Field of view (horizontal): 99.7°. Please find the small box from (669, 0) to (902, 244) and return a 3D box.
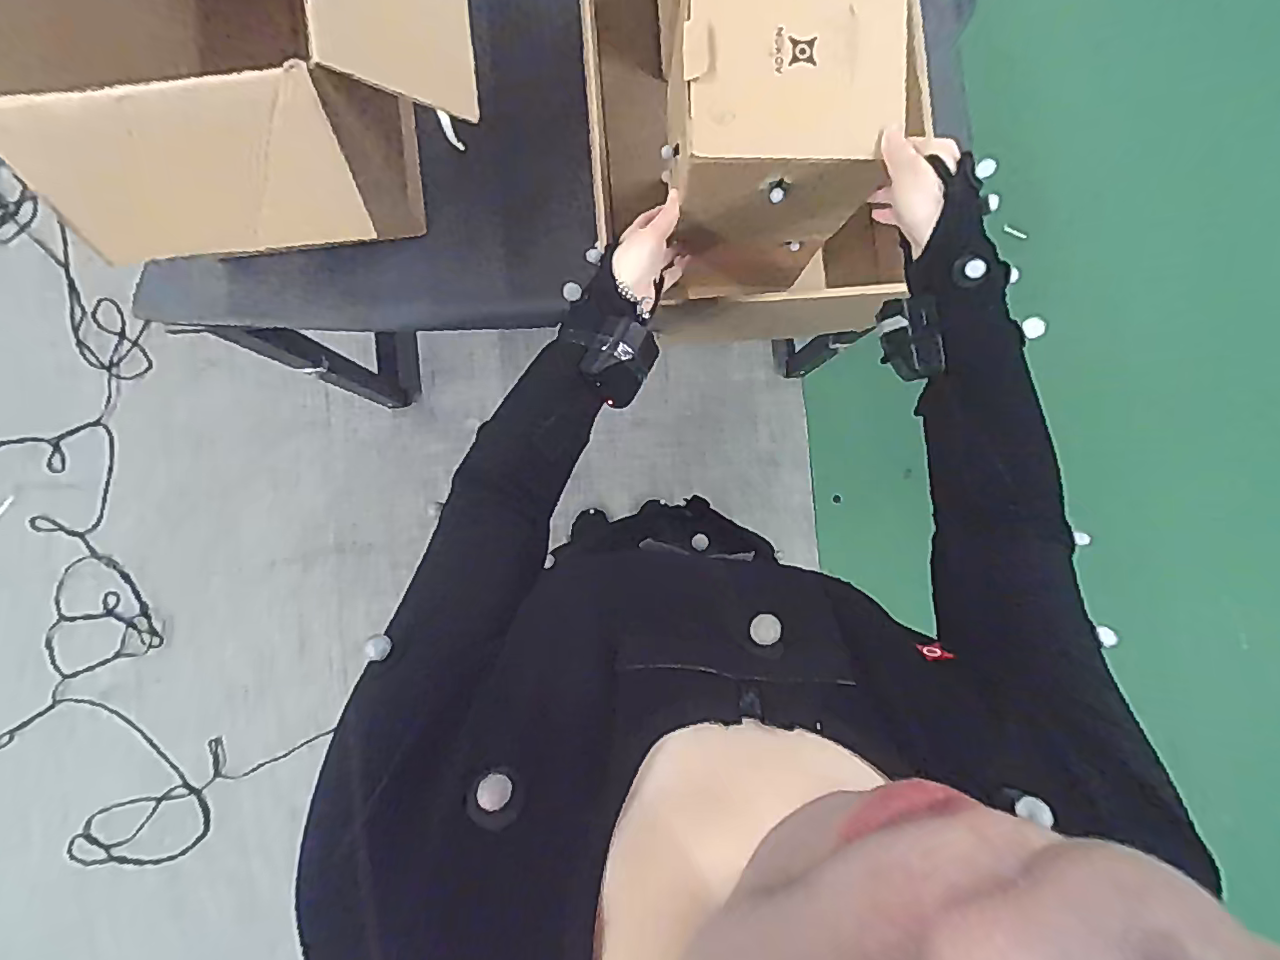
[{"bbox_3d":[0.120,-0.335,0.509,0.179,0.176,0.168,-1,94,-3],"label":"small box"}]
